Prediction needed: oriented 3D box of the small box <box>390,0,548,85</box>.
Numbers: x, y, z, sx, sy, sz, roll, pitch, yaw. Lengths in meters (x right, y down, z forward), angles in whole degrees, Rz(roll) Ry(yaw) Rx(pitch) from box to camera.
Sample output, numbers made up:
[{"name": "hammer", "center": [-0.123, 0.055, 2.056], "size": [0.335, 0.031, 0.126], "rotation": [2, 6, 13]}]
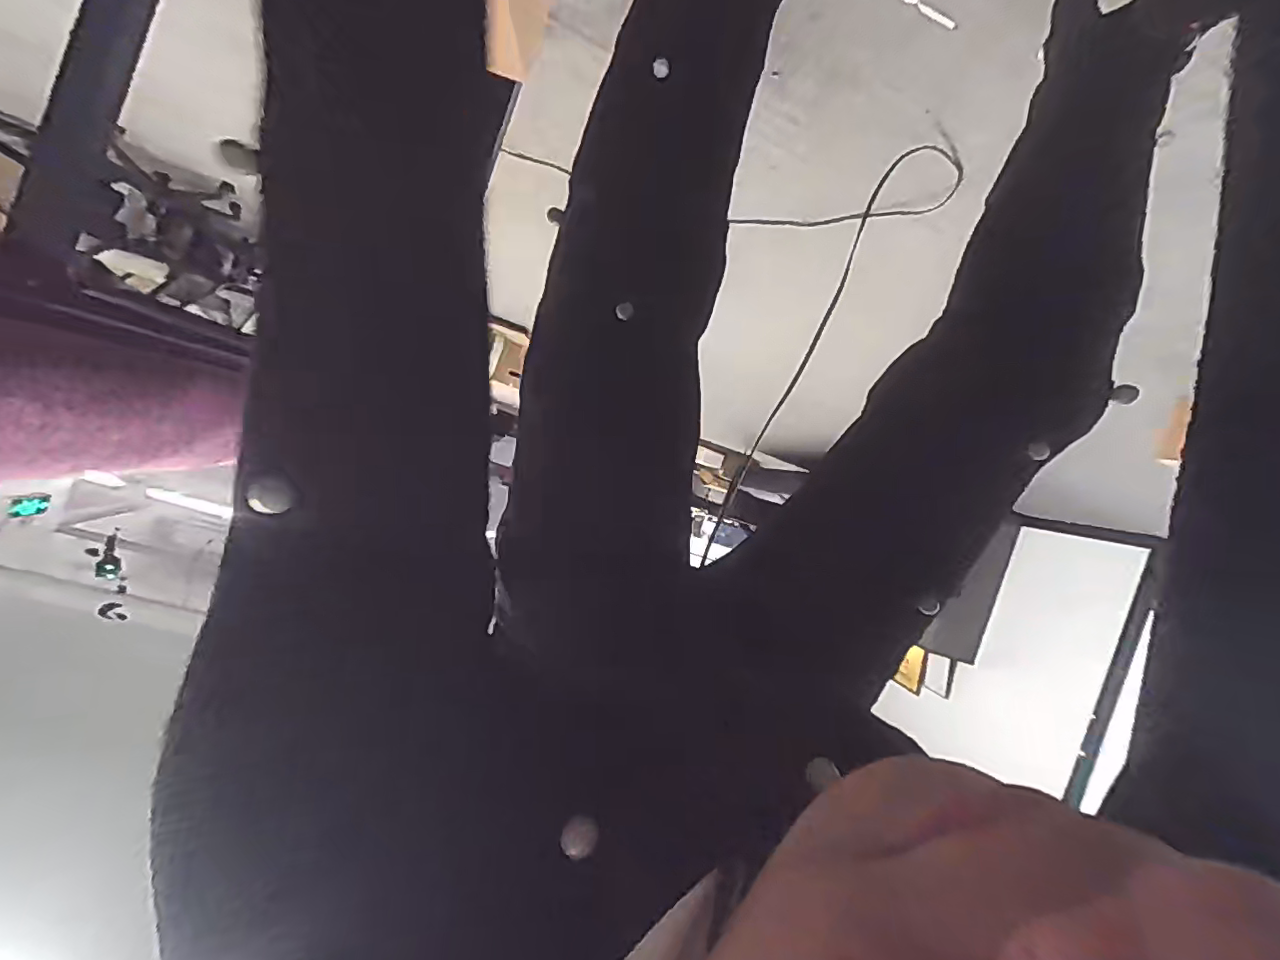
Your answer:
[{"name": "small box", "center": [-0.215, -0.668, 0.688], "size": [0.179, 0.176, 0.168], "rotation": [19, 179, -5]}]

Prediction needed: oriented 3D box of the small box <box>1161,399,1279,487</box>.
[{"name": "small box", "center": [1.438, -0.090, 1.310], "size": [0.168, 0.176, 0.179], "rotation": [19, 179, -15]}]
